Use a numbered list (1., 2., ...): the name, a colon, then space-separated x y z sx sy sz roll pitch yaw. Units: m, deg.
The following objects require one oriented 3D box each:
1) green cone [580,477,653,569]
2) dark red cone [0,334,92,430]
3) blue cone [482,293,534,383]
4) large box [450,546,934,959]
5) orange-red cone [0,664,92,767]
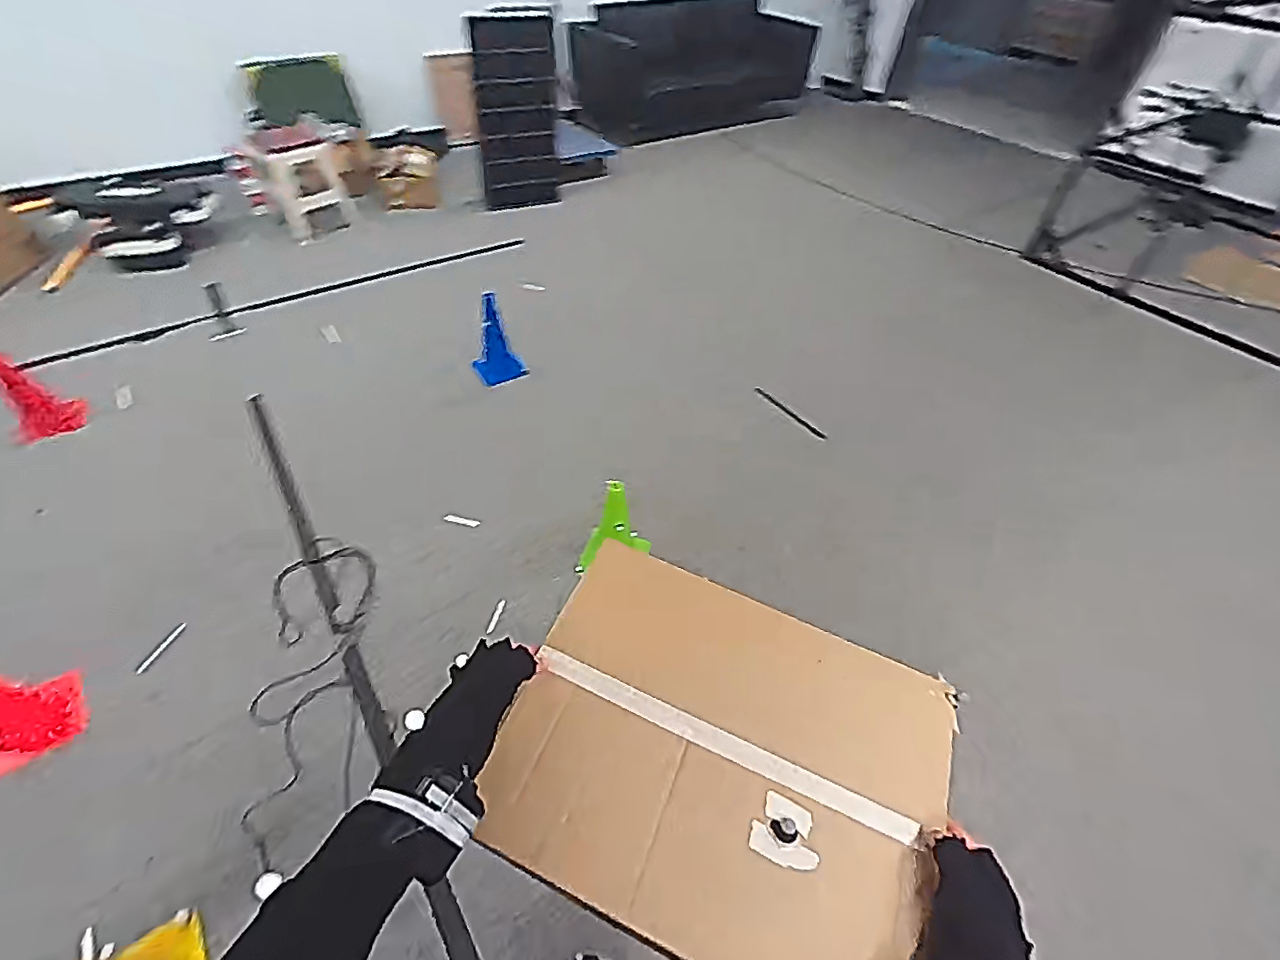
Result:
1. green cone: -0.062 0.130 1.649 0.200 0.368 0.202 15 47 9
2. dark red cone: -2.195 -0.378 1.929 0.201 0.394 0.202 -20 52 -22
3. blue cone: -0.587 -0.619 2.315 0.192 0.380 0.193 -23 53 -24
4. large box: 0.057 0.342 0.629 0.408 0.320 0.320 22 52 10
5. orange-red cone: -1.502 0.476 1.235 0.198 0.360 0.199 -29 57 -26
